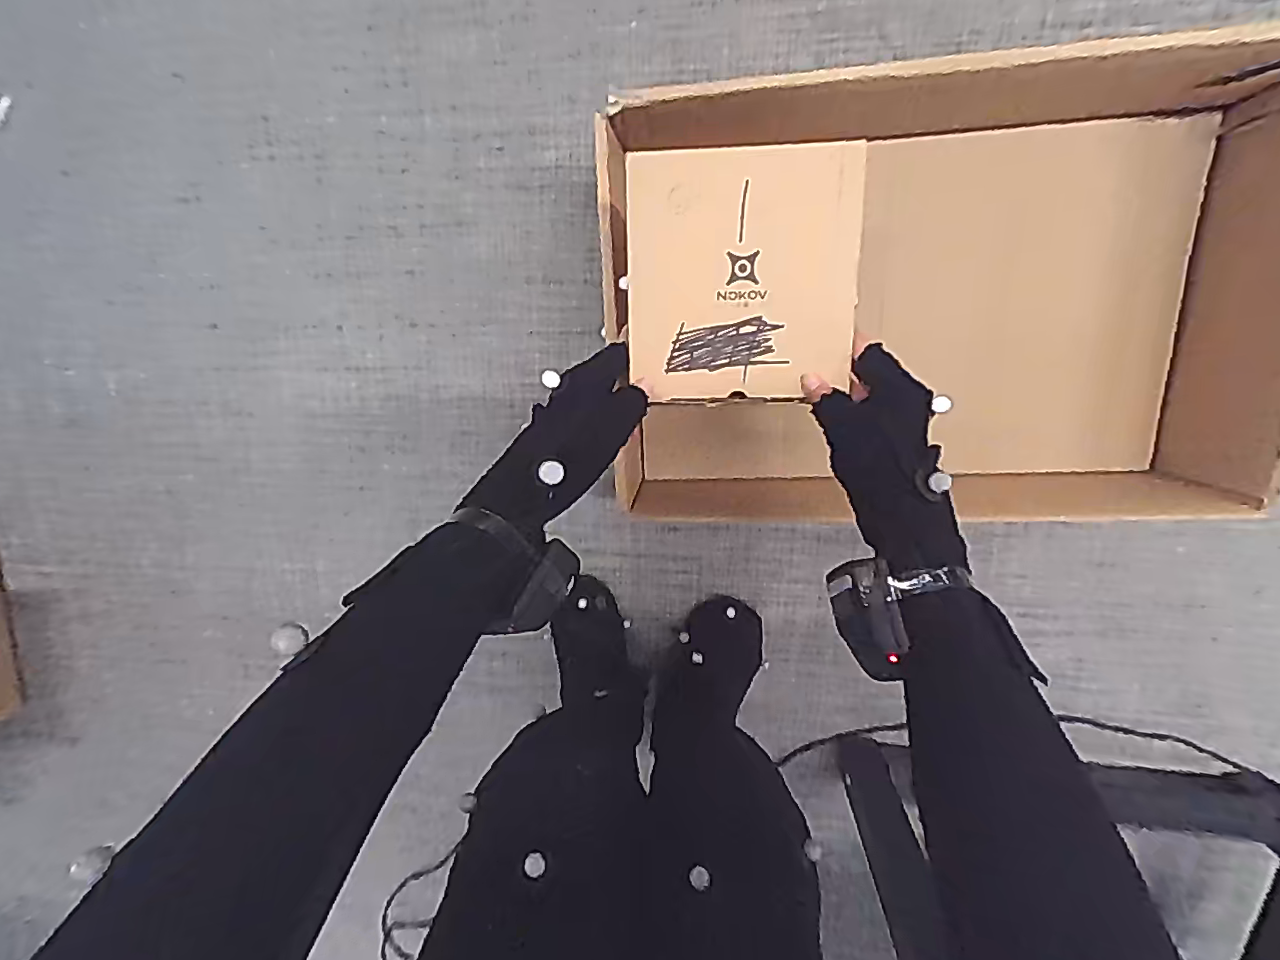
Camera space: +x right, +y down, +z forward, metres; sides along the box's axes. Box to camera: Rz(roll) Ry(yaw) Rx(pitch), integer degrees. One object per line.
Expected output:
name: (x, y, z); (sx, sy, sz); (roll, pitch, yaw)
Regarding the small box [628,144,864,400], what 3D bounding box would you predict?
small box: (0.079, -0.165, 0.473); (0.168, 0.176, 0.179); (1, 102, 4)
